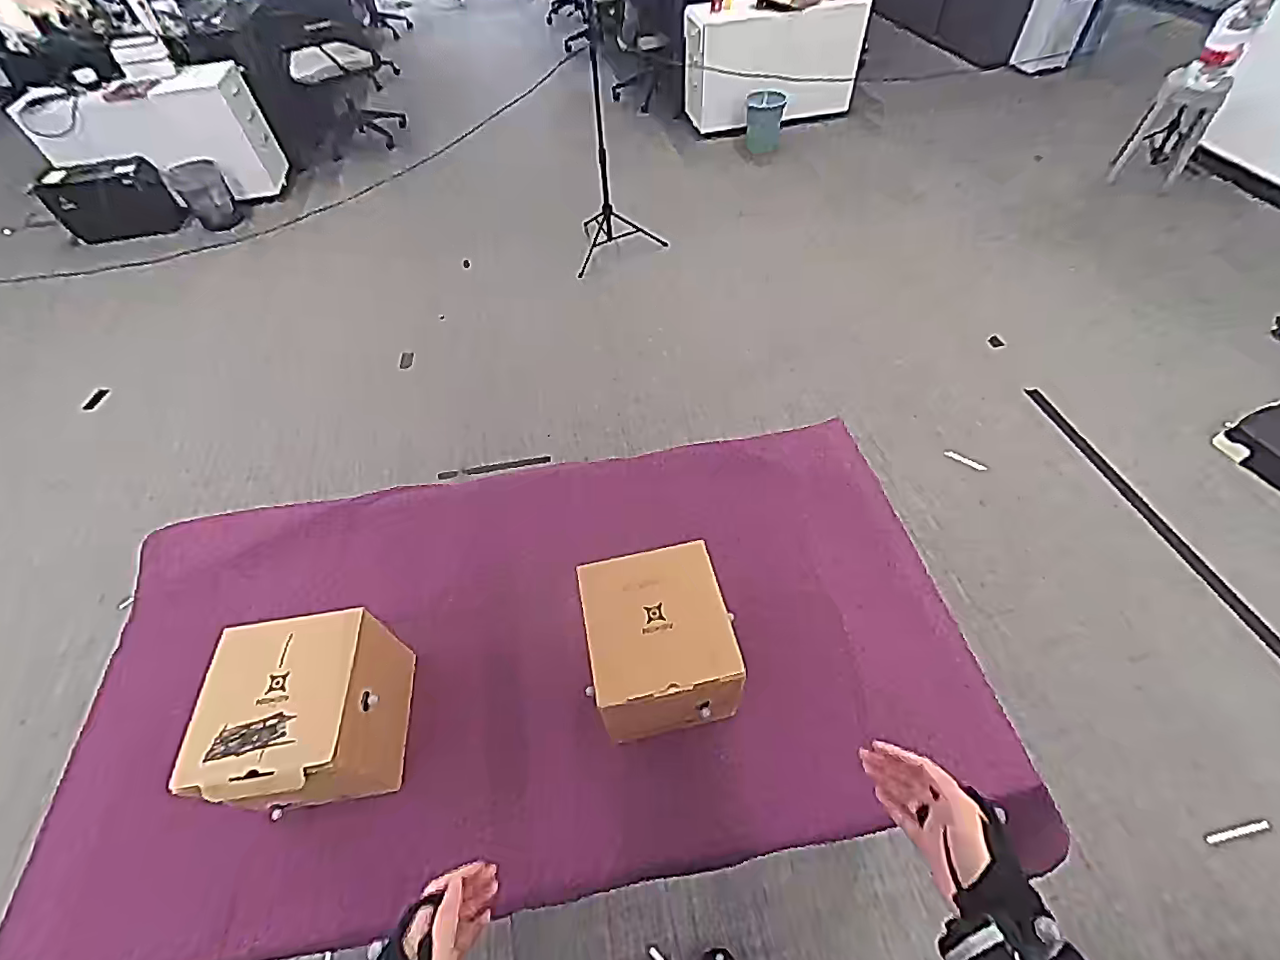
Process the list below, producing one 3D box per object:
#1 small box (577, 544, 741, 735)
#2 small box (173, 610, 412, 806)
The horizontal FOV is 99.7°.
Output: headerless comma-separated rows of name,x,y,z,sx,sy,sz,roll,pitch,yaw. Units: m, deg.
small box,0.021,0.210,0.689,0.168,0.176,0.179,-11,52,-5
small box,-0.396,0.283,0.658,0.168,0.176,0.179,-8,52,-3
